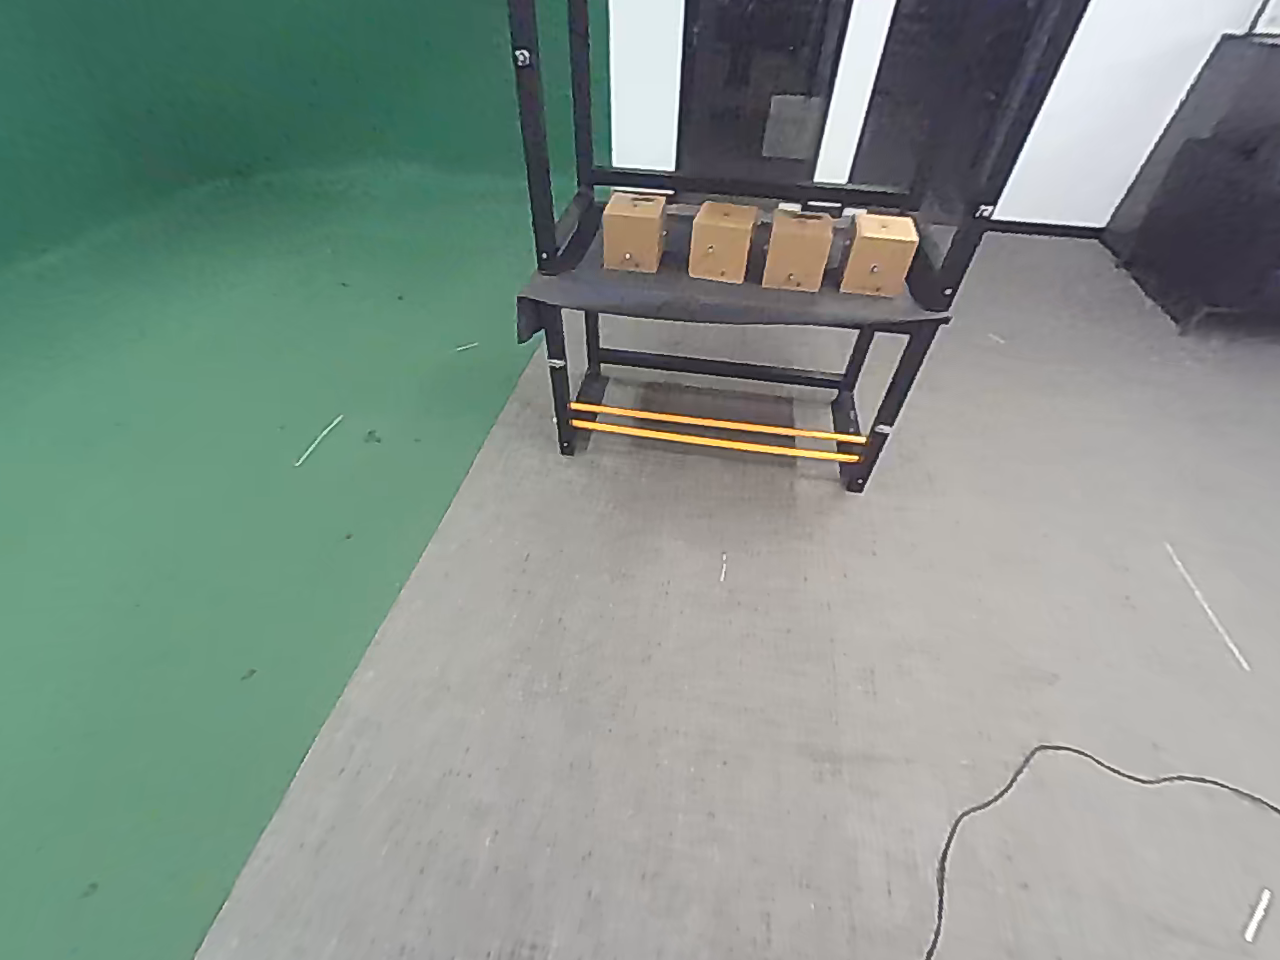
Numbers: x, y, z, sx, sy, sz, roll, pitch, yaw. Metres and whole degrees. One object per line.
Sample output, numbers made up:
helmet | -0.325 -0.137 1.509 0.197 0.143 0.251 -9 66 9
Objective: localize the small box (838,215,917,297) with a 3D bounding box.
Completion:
small box | 0.687 -0.654 1.583 0.168 0.176 0.179 10 46 8

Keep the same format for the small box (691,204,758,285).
small box | 0.252 -0.711 1.634 0.168 0.176 0.179 12 47 10

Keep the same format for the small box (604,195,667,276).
small box | -0.012 -0.754 1.666 0.168 0.176 0.179 8 47 6
